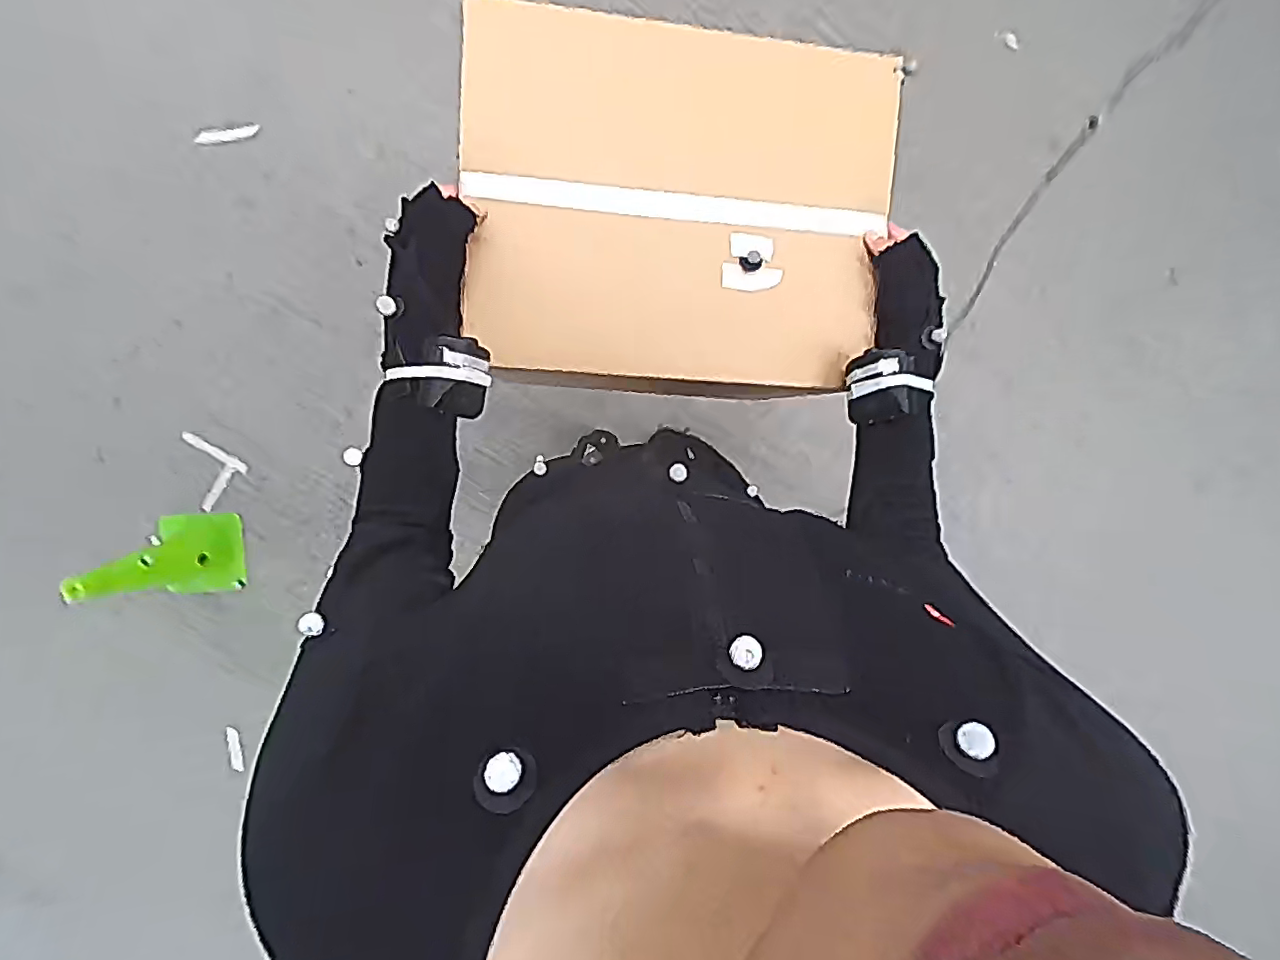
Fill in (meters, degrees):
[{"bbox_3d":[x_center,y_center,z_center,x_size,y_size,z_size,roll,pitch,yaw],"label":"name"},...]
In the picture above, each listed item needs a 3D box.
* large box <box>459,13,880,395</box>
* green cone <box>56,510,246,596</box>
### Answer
[{"bbox_3d":[0.014,-0.271,0.659,0.408,0.320,0.320,1,96,-8],"label":"large box"},{"bbox_3d":[-1.123,0.190,1.232,0.202,0.368,0.200,-3,94,-3],"label":"green cone"}]
